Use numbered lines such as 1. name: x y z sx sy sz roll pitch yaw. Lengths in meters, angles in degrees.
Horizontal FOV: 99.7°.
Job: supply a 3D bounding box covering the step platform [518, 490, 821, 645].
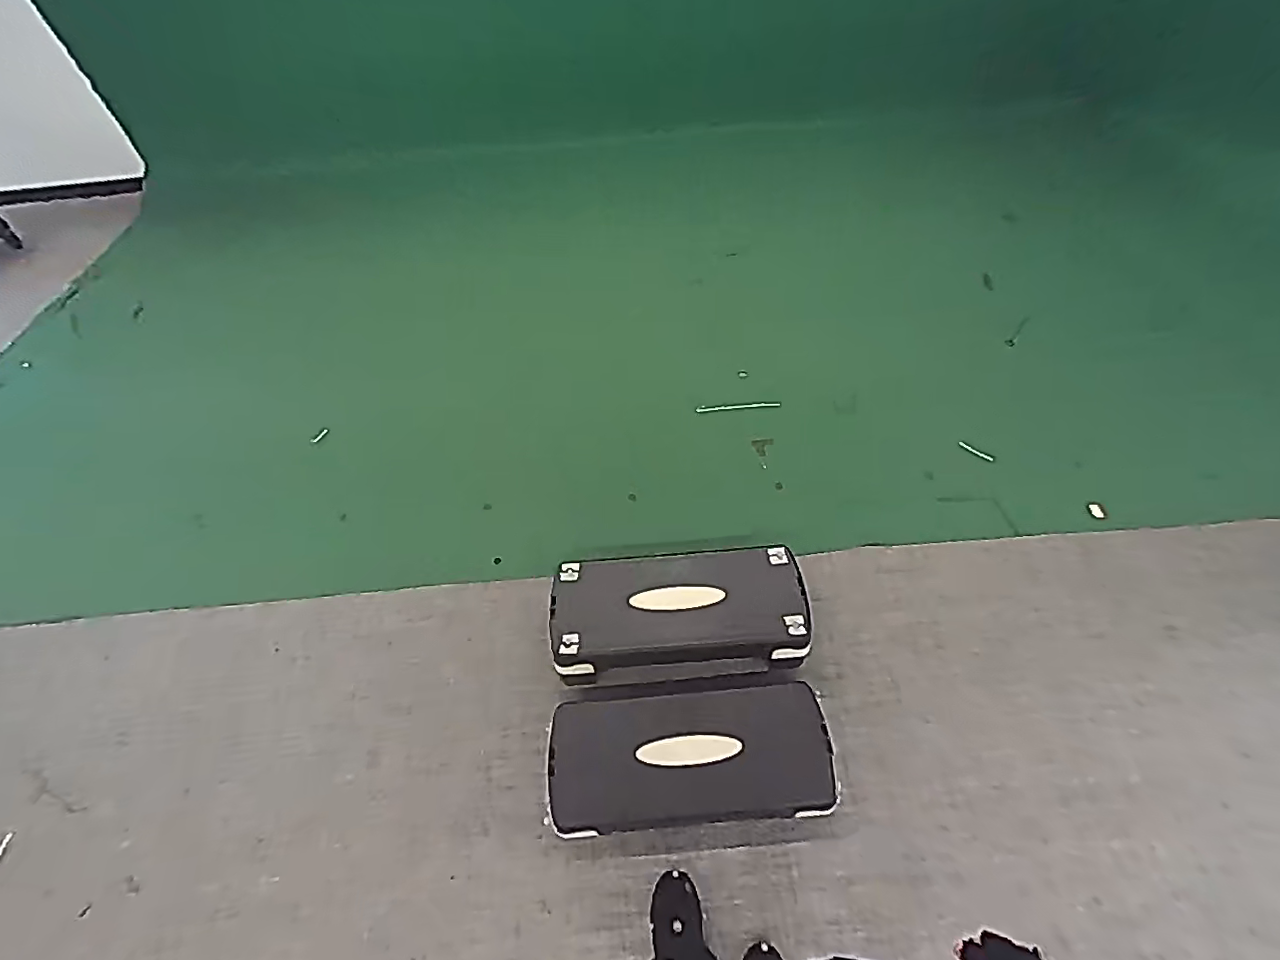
1. step platform: 0.065 0.216 1.312 0.684 0.204 0.286 -5 53 1
